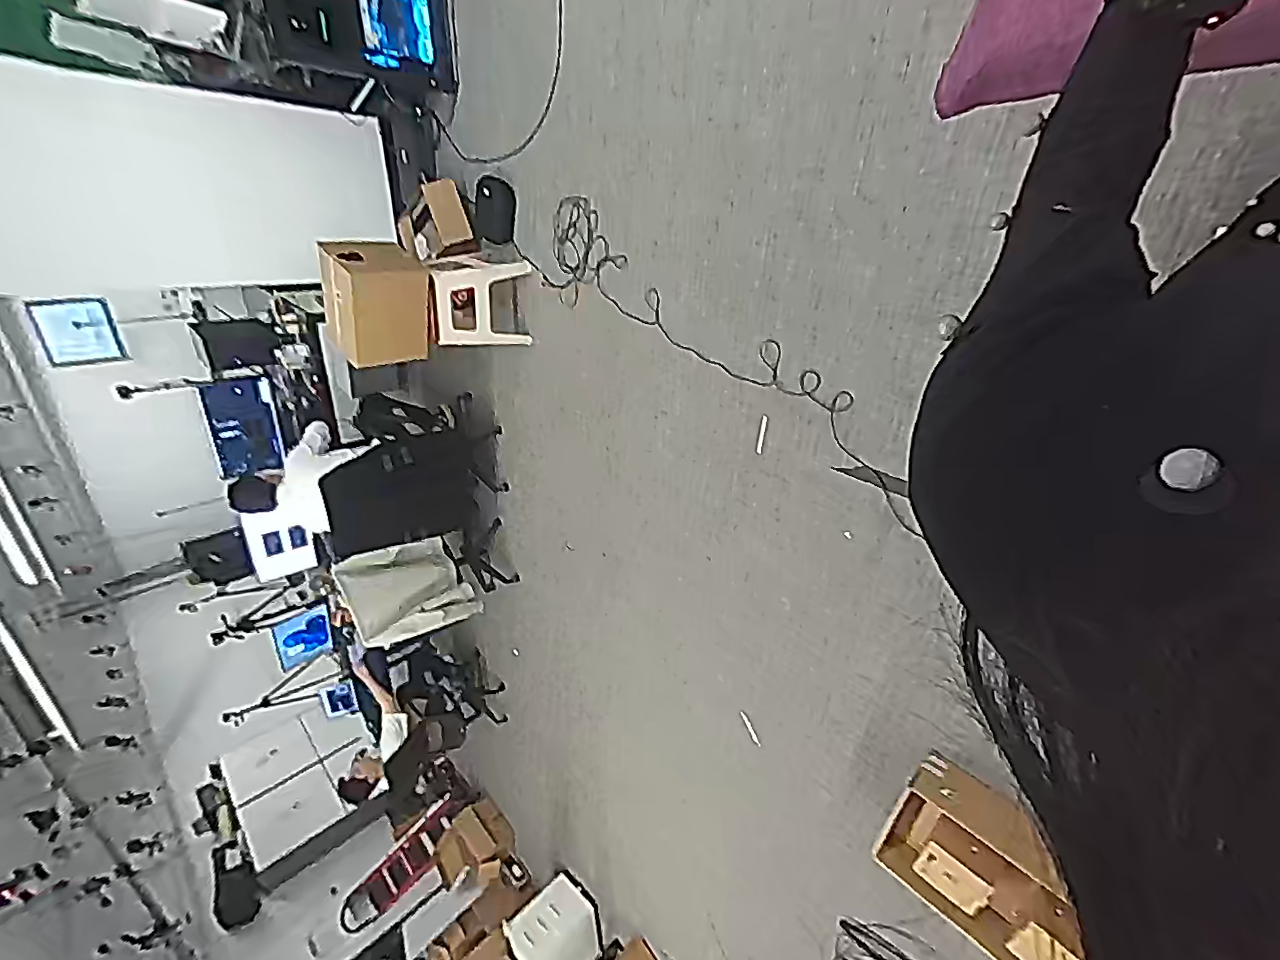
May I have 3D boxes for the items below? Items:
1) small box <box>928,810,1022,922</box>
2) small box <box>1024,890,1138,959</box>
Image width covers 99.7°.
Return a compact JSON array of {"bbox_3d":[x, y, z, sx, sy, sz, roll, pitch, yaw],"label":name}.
[{"bbox_3d":[1.001,1.142,1.612,0.179,0.176,0.168,28,125,34],"label":"small box"},{"bbox_3d":[1.186,1.257,1.455,0.179,0.176,0.168,32,128,35],"label":"small box"}]
